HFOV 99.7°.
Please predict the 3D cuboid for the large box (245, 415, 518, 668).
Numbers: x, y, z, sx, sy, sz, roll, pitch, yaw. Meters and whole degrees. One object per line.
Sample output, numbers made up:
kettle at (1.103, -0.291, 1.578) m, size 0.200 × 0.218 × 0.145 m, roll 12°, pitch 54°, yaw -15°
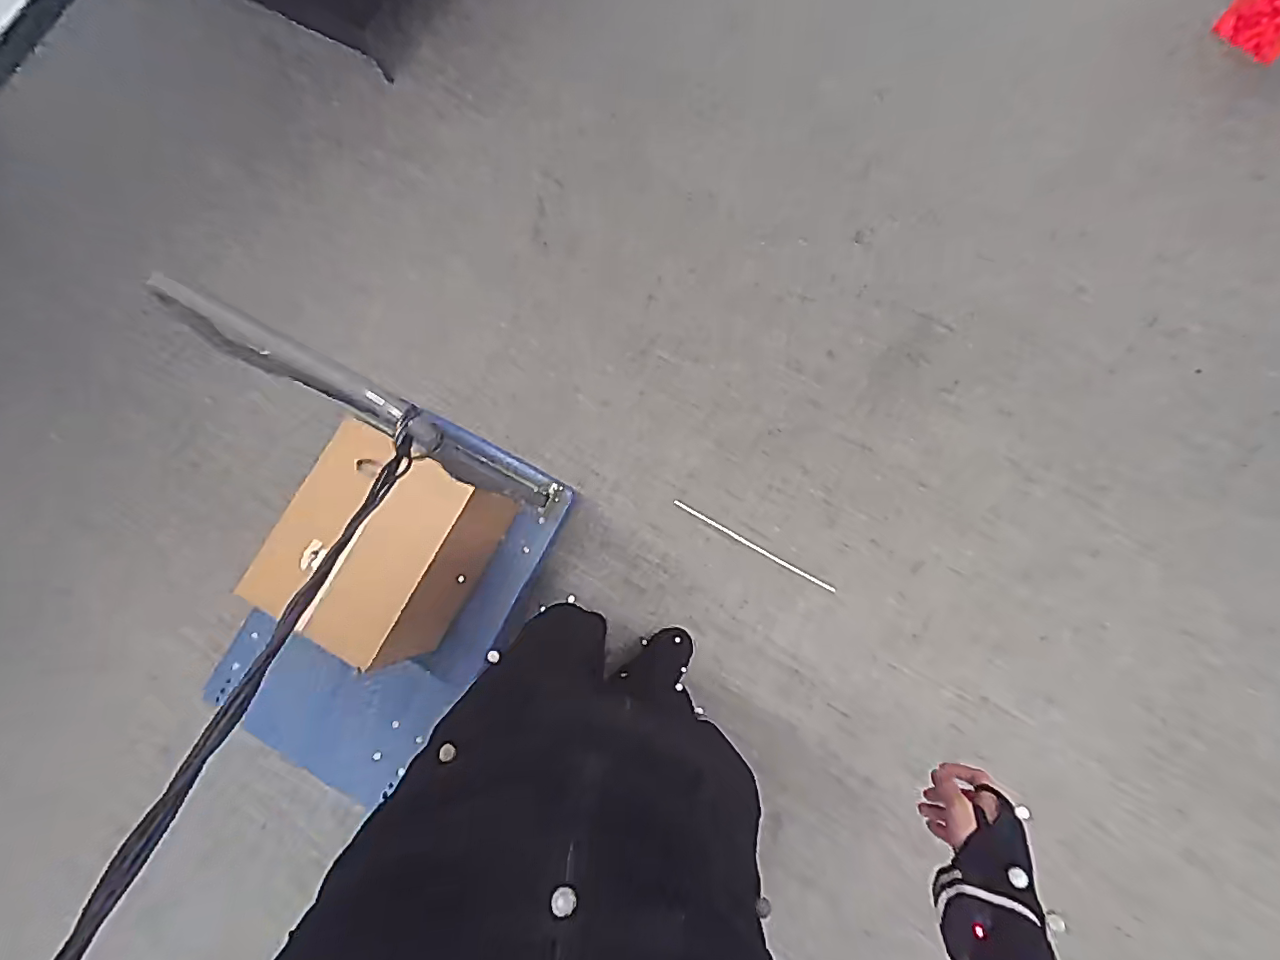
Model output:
large box at (-0.527, 0.130, 1.189) m, size 0.320 × 0.320 × 0.408 m, roll 28°, pitch 83°, yaw 8°
